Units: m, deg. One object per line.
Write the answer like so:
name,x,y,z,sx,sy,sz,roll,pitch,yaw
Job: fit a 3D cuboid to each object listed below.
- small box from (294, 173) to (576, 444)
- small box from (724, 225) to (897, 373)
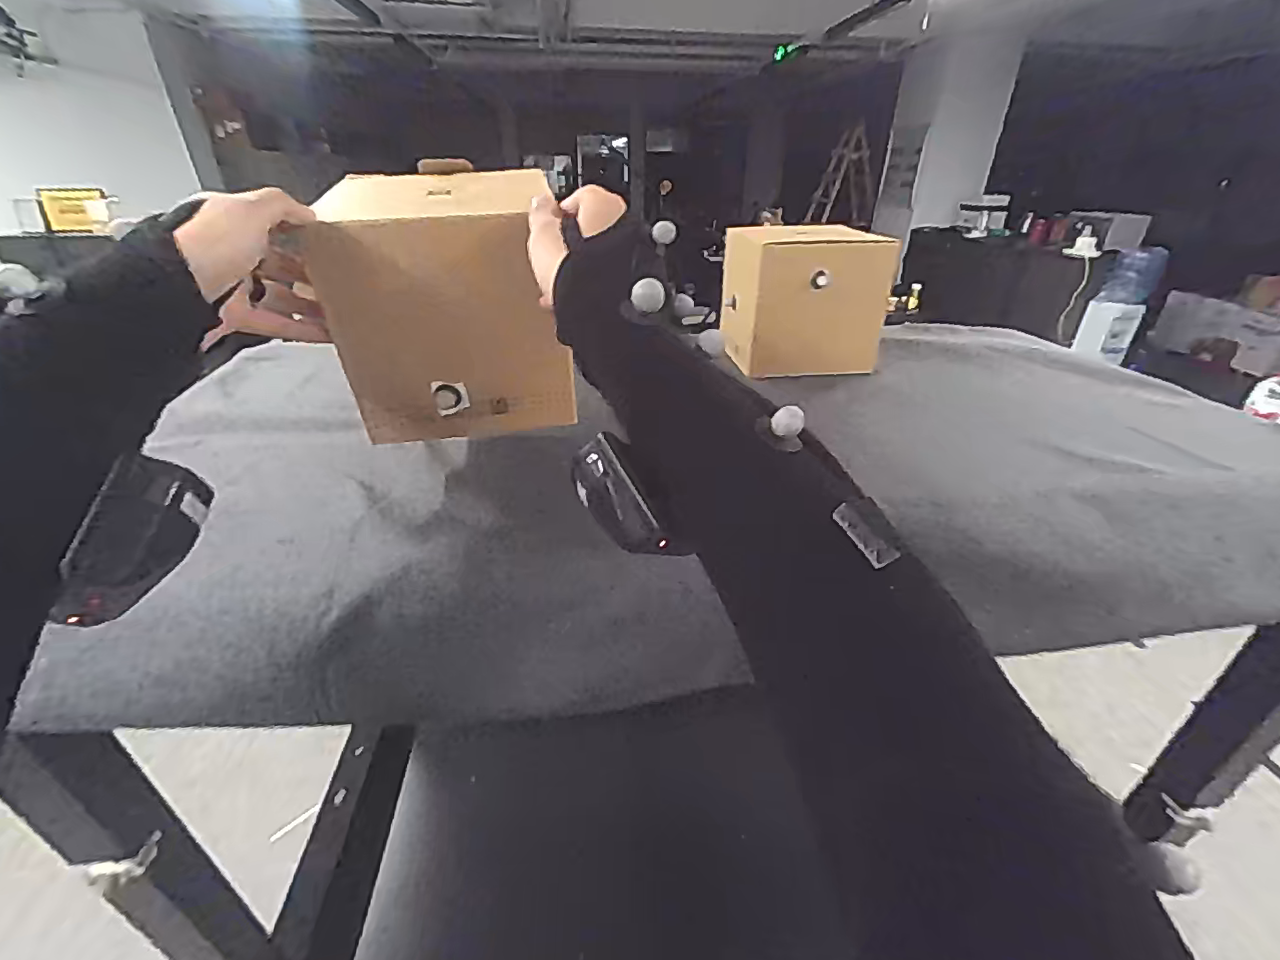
small box,-0.148,-0.149,0.454,0.168,0.176,0.179,-8,37,-9
small box,0.217,-0.251,0.745,0.179,0.176,0.168,-3,31,-5
